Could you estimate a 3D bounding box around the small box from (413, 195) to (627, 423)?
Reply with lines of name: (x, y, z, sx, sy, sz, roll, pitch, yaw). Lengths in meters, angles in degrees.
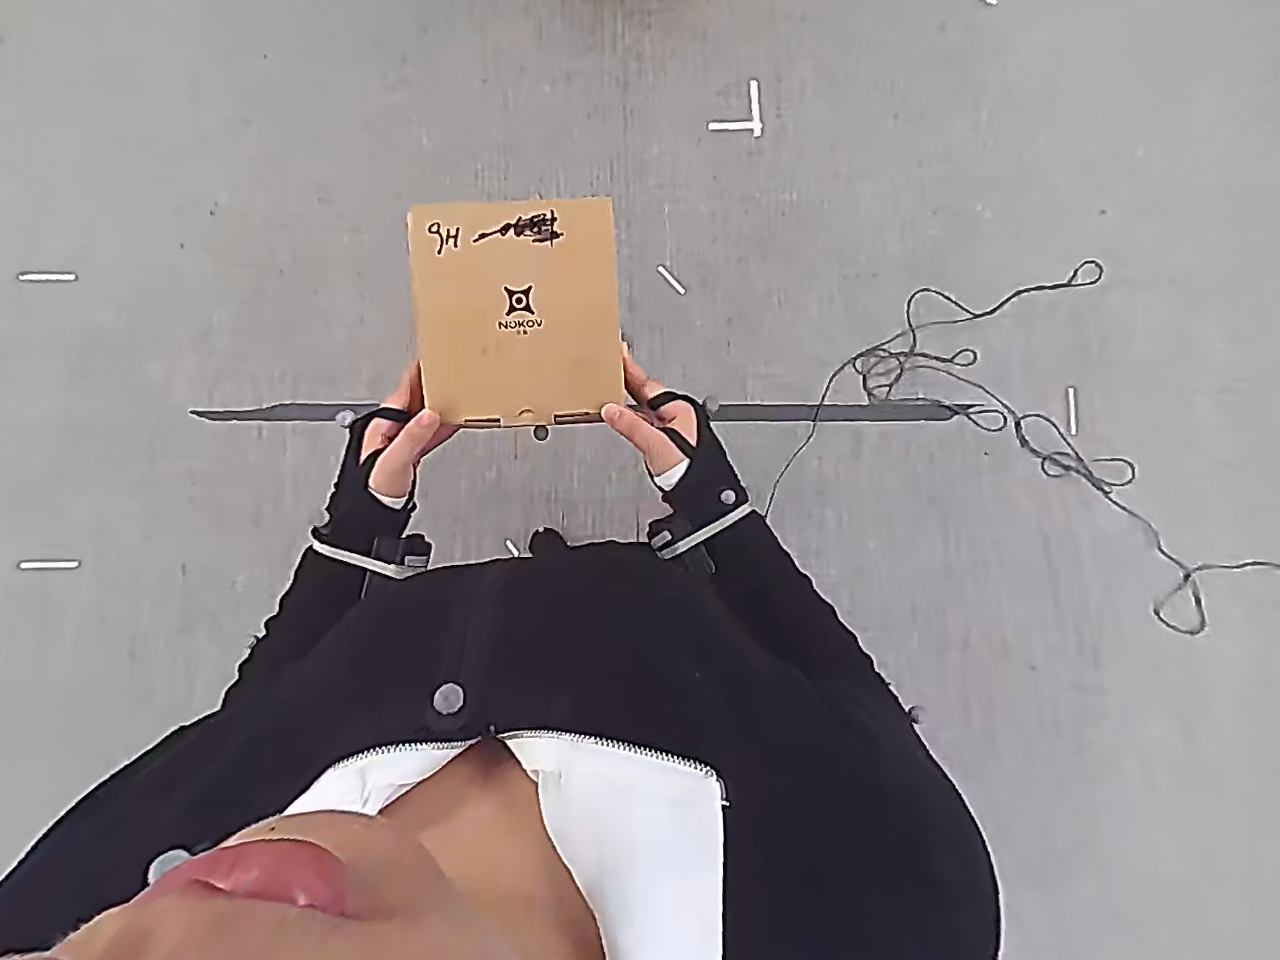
small box: (-0.098, -0.147, 0.521, 0.168, 0.176, 0.179, -4, 95, -2)
